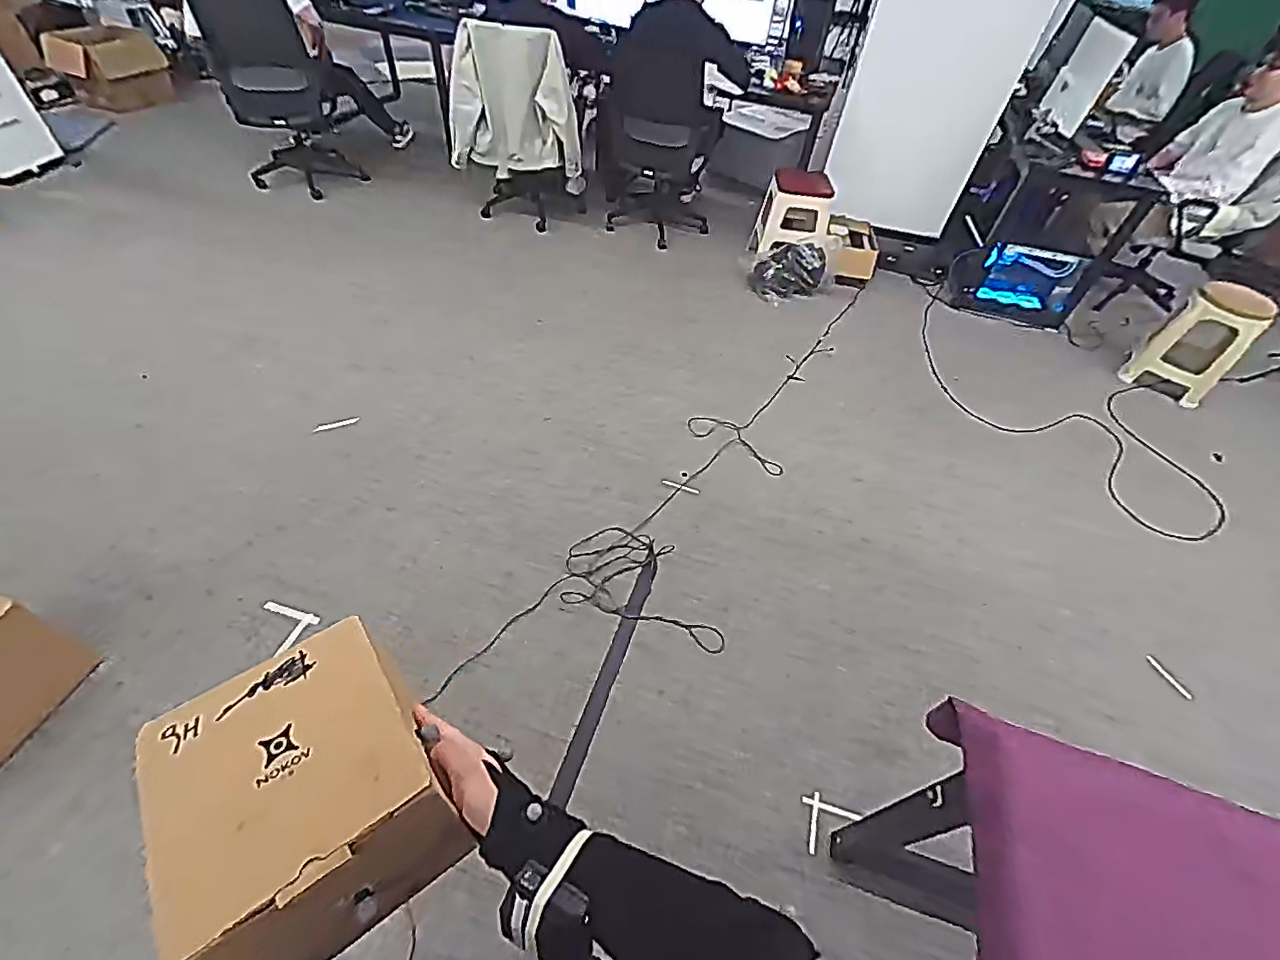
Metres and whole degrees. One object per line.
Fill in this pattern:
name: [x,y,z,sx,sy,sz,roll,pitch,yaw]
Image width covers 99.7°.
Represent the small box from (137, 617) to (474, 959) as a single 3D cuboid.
small box: [-0.258,0.256,0.446,0.168,0.176,0.179,-28,52,-26]
